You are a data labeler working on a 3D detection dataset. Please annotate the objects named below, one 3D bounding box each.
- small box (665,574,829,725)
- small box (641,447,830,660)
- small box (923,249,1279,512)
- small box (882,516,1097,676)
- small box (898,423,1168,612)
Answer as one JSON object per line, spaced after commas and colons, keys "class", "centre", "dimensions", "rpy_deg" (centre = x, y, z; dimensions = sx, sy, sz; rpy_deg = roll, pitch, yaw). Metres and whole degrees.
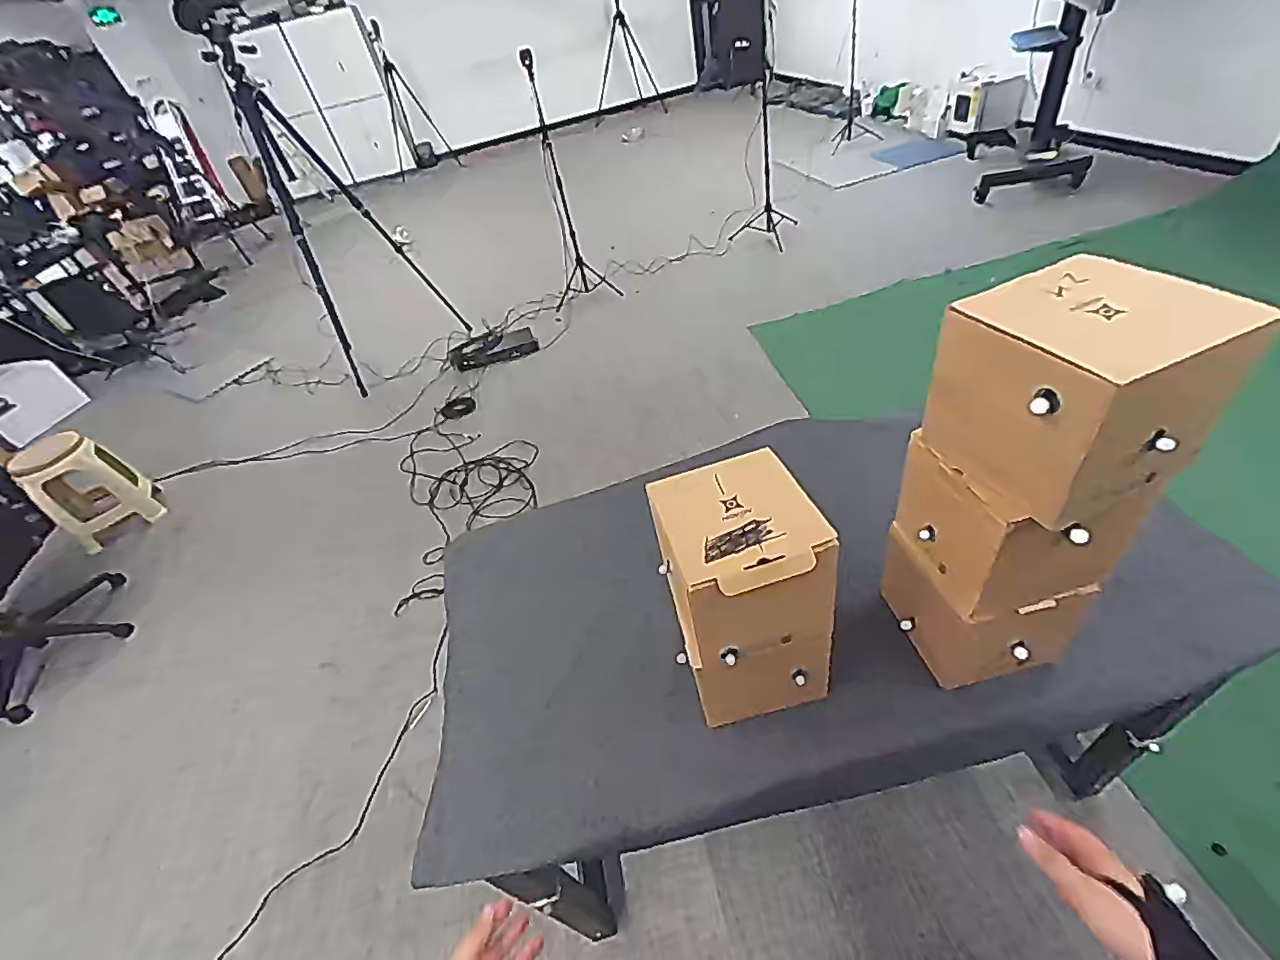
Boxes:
{"class": "small box", "centre": [0.147, 0.214, 0.762], "dimensions": [0.179, 0.176, 0.168], "rpy_deg": [-16, 40, 0]}
{"class": "small box", "centre": [0.114, 0.093, 0.655], "dimensions": [0.168, 0.176, 0.179], "rpy_deg": [-18, 40, -3]}
{"class": "small box", "centre": [0.407, -0.091, 0.518], "dimensions": [0.168, 0.176, 0.179], "rpy_deg": [-22, 41, -7]}
{"class": "small box", "centre": [0.455, 0.146, 0.740], "dimensions": [0.168, 0.176, 0.179], "rpy_deg": [-16, 42, 1]}
{"class": "small box", "centre": [0.431, 0.026, 0.633], "dimensions": [0.179, 0.176, 0.168], "rpy_deg": [-17, 41, -1]}
